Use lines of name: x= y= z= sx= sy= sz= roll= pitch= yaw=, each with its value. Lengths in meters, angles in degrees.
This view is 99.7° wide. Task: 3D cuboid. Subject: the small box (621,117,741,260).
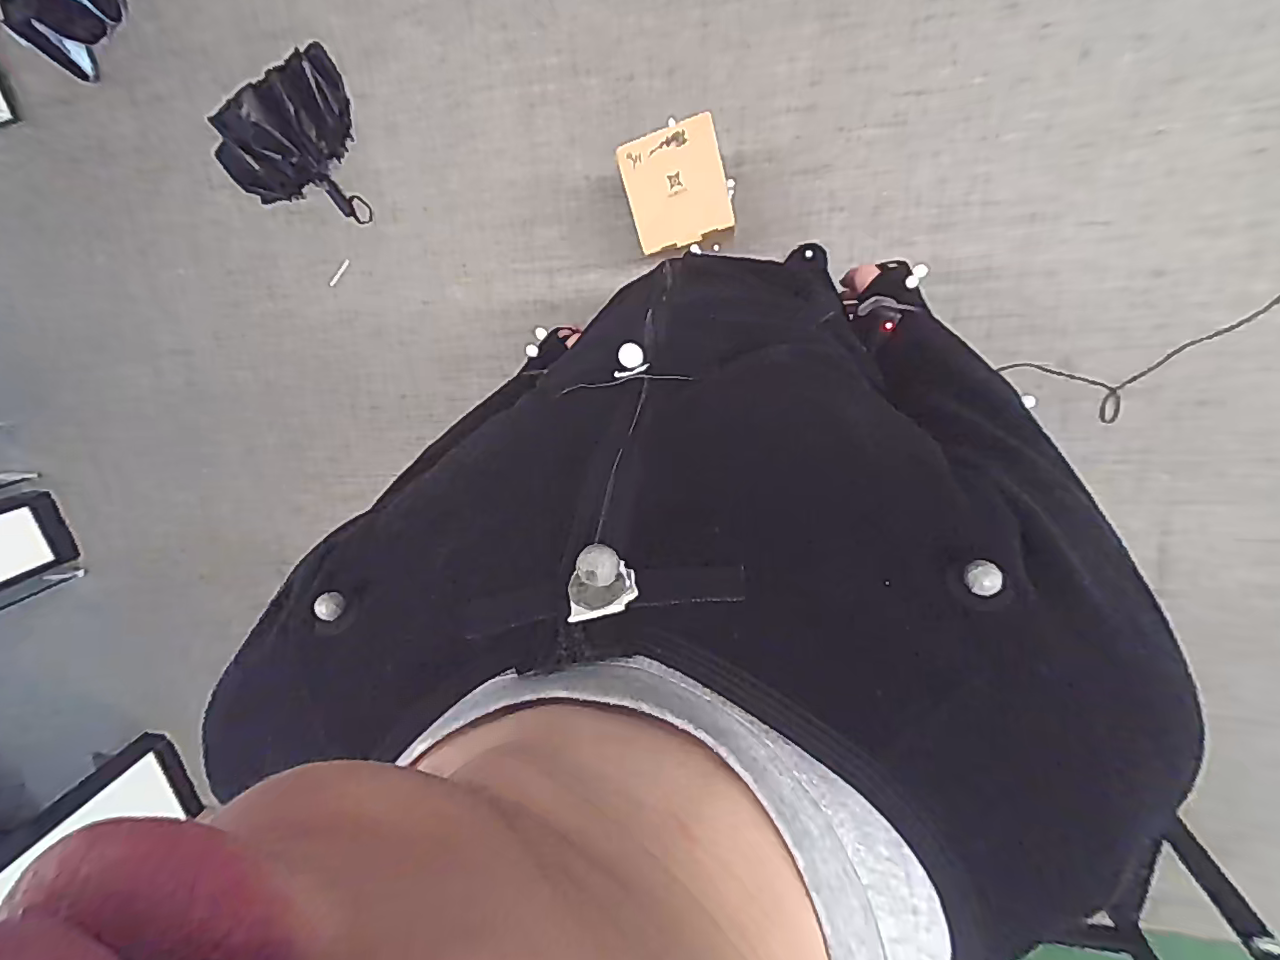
small box: x=0.083 y=-0.512 z=0.974 sx=0.168 sy=0.176 sz=0.179 roll=-12 pitch=109 yaw=16

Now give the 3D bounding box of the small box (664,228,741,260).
small box: x=0.112 y=-0.570 z=1.123 sx=0.168 sy=0.176 sz=0.179 roll=-12 pitch=109 yaw=16
